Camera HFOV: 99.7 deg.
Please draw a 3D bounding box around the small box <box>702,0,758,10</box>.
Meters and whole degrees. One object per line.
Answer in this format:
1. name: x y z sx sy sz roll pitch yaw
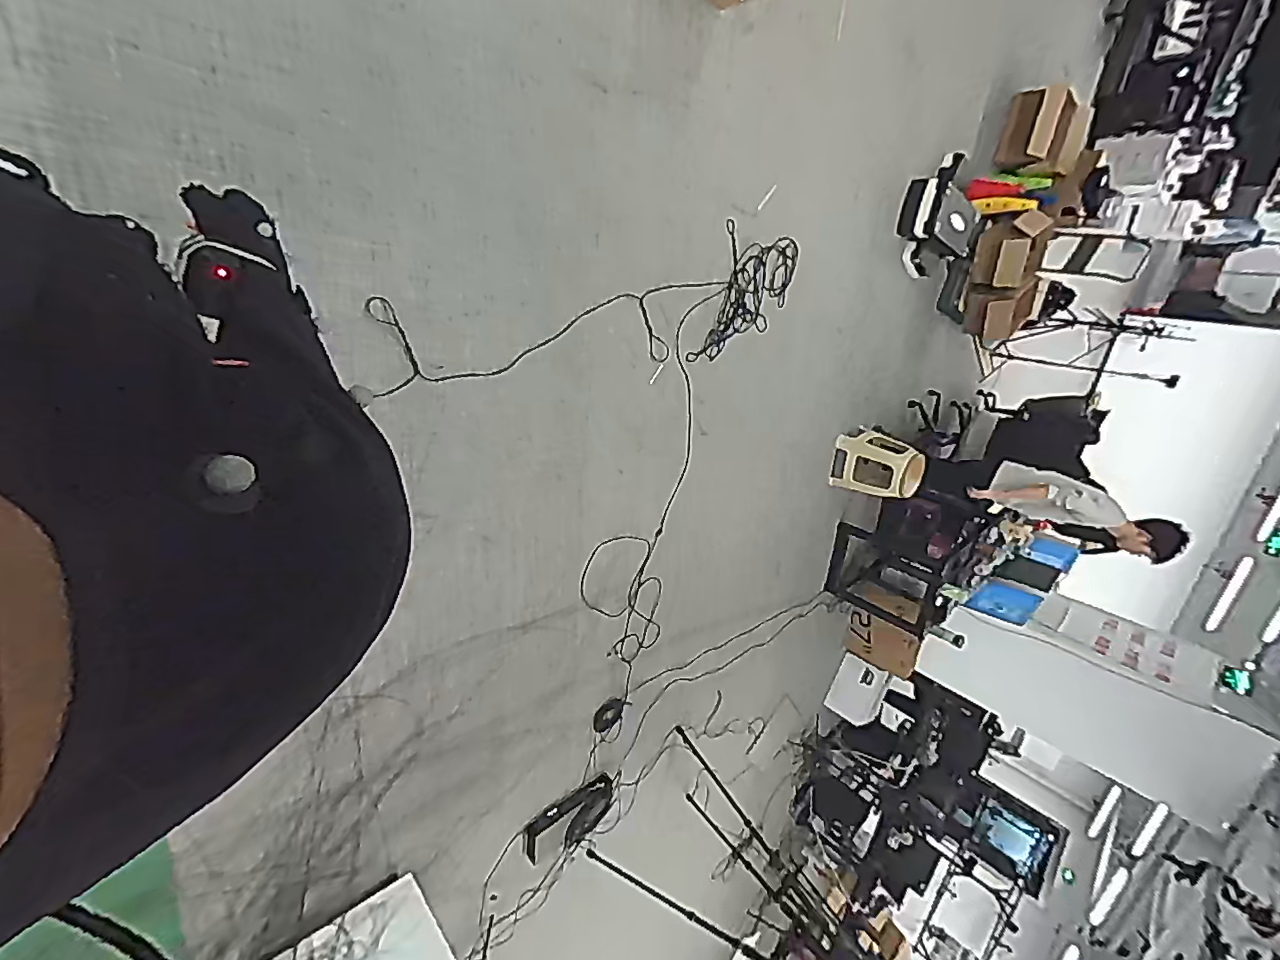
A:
1. small box: 0.264 -1.582 1.649 0.179 0.176 0.168 -8 114 -43
